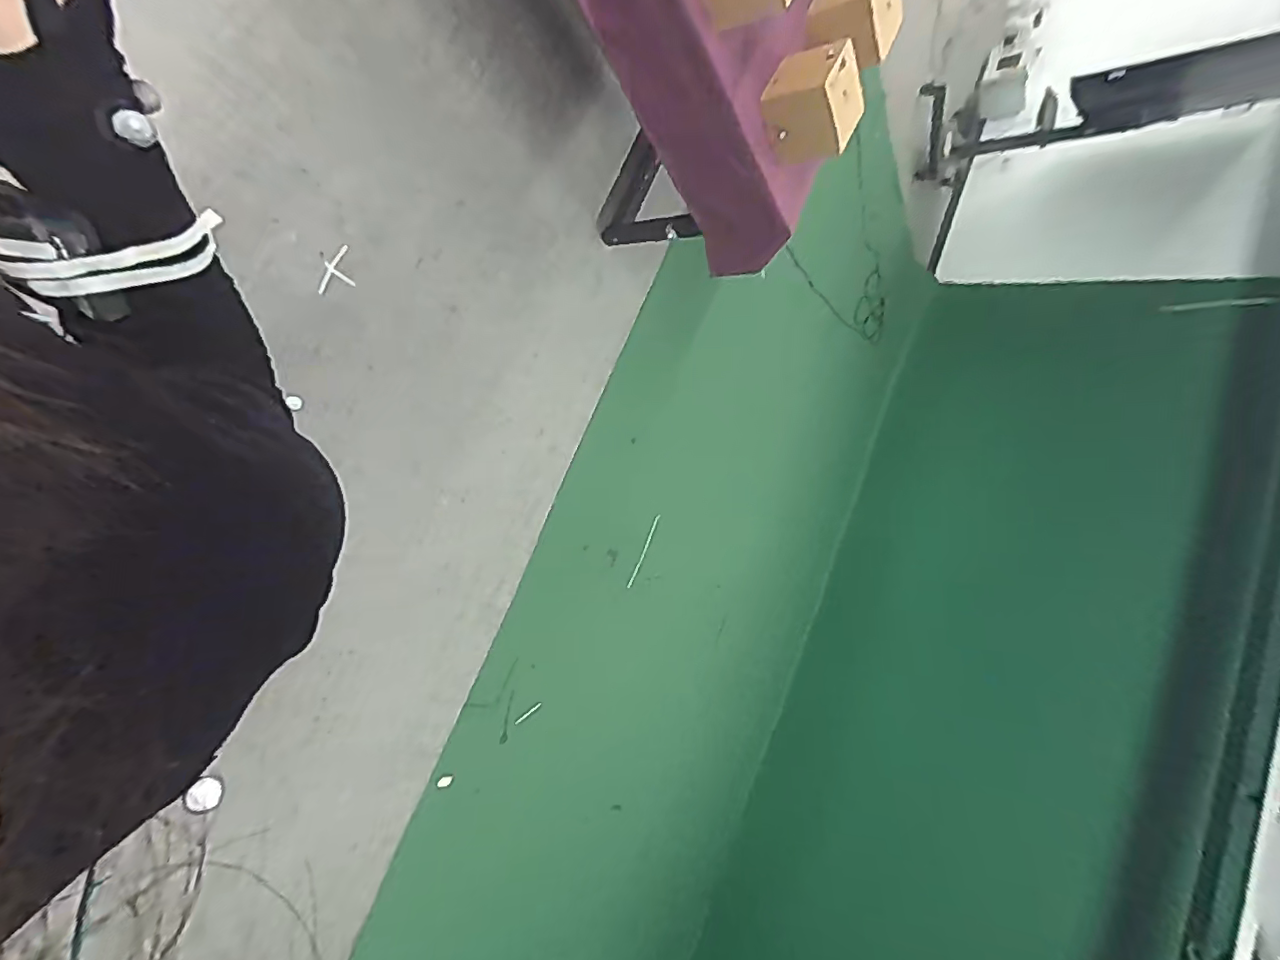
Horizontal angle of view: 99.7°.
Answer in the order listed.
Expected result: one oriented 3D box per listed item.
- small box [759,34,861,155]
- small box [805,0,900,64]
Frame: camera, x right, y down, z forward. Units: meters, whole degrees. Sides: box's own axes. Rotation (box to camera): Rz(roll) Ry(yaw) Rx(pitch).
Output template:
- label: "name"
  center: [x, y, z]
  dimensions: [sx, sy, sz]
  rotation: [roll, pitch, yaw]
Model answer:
- label: "small box"
  center: [0.416, -0.928, 1.323]
  dimensions: [0.179, 0.176, 0.168]
  rotation: [45, 66, -48]
- label: "small box"
  center: [0.546, -1.206, 1.390]
  dimensions: [0.168, 0.176, 0.179]
  rotation: [40, 71, -48]
